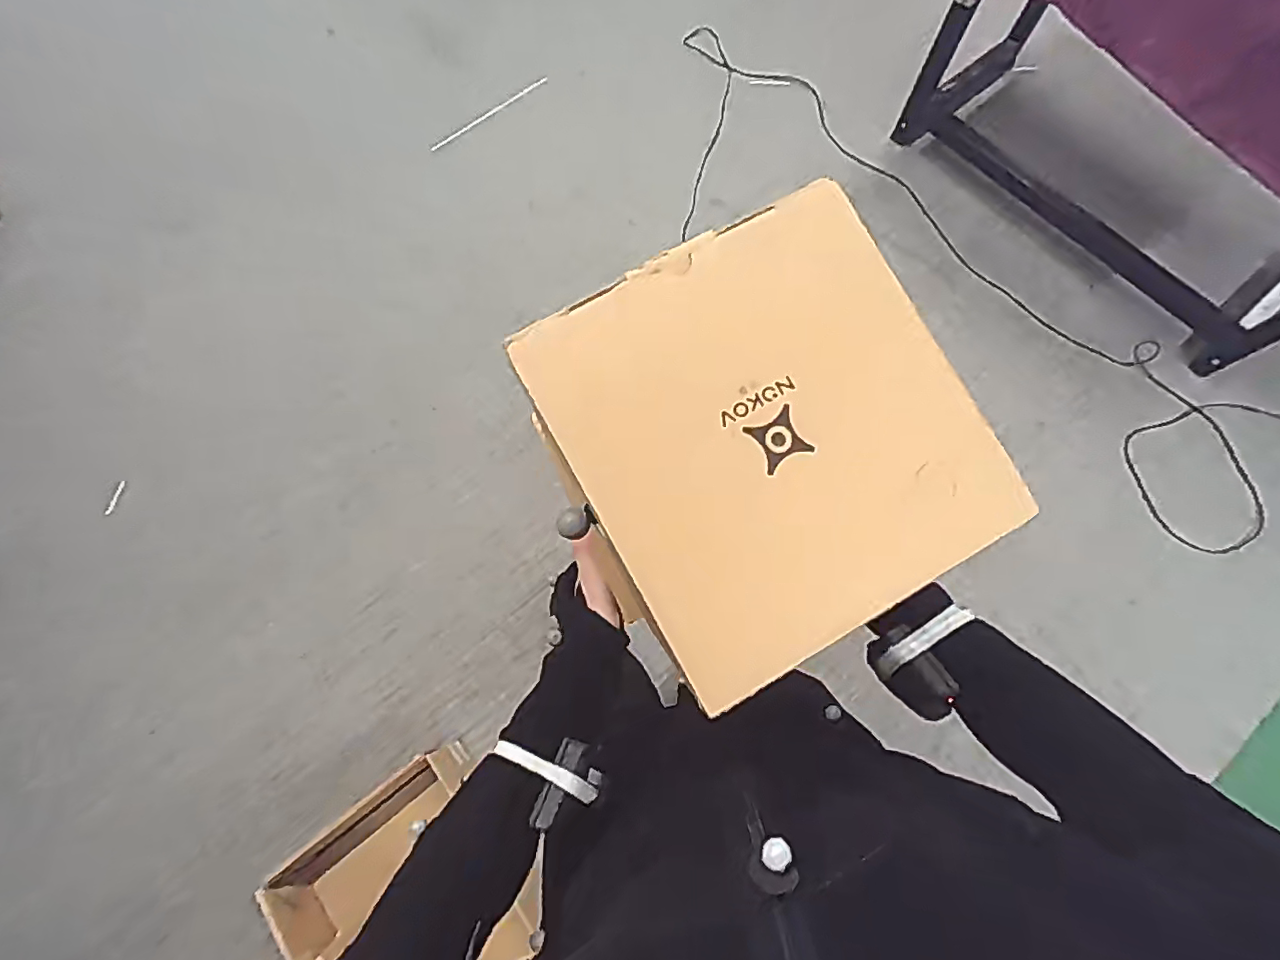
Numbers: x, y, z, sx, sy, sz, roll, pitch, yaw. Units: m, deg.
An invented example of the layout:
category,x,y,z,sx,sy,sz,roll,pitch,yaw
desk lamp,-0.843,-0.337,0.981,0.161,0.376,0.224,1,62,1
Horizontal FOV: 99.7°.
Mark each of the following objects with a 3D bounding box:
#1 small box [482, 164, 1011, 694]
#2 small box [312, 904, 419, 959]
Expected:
category,x,y,z,sx,sy,sz,roll,pitch,yaw
small box,0.042,-0.019,0.304,0.168,0.176,0.179,-29,86,-6
small box,-0.494,0.879,0.909,0.168,0.176,0.179,-42,79,-10
